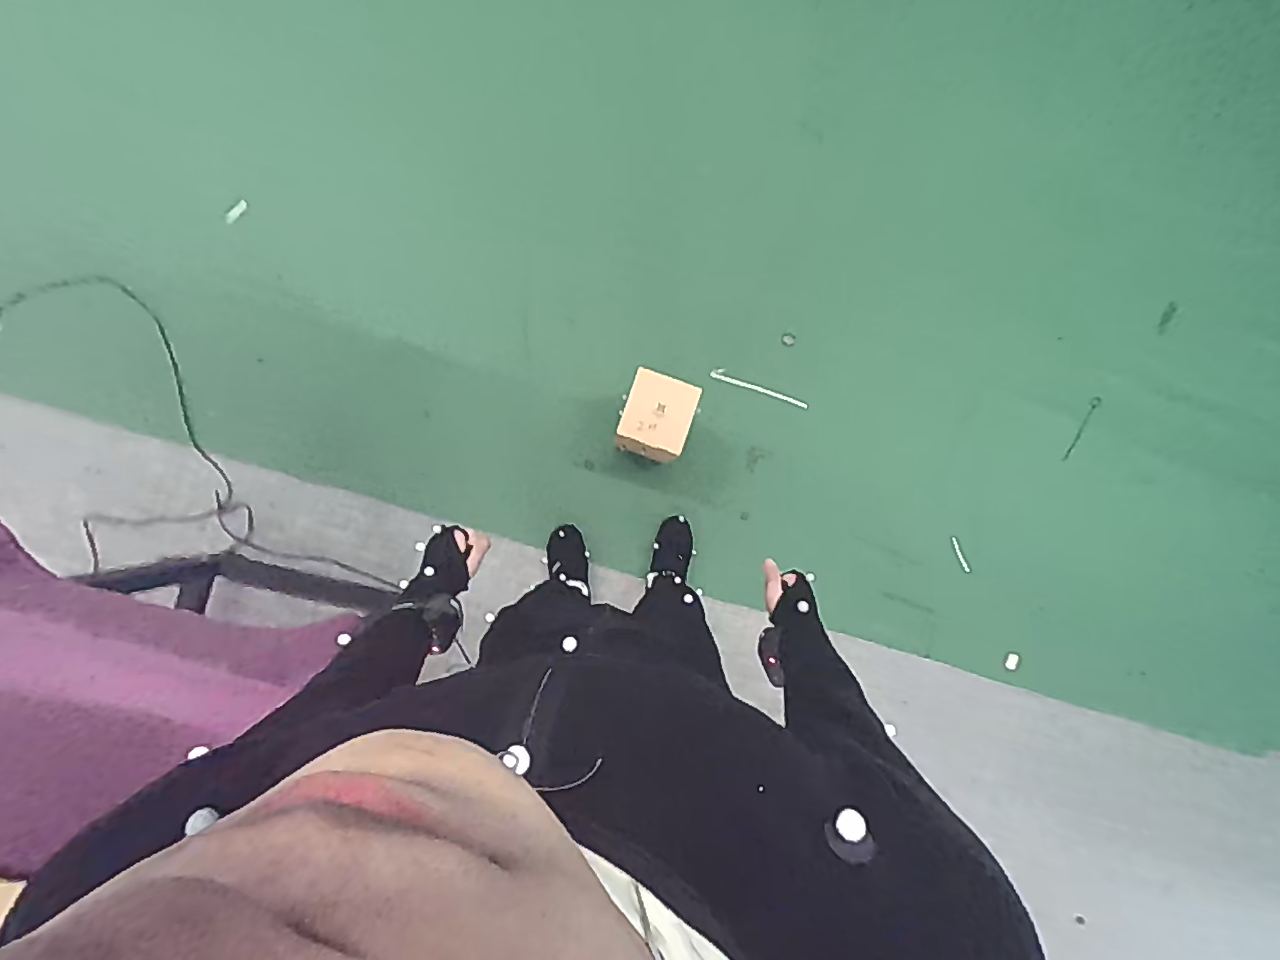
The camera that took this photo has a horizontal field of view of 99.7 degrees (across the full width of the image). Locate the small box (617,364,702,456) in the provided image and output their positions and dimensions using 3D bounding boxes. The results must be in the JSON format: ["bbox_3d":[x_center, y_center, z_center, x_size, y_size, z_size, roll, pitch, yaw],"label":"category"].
[{"bbox_3d":[0.041,-0.170,1.378,0.168,0.176,0.179,19,88,-3],"label":"small box"}]
